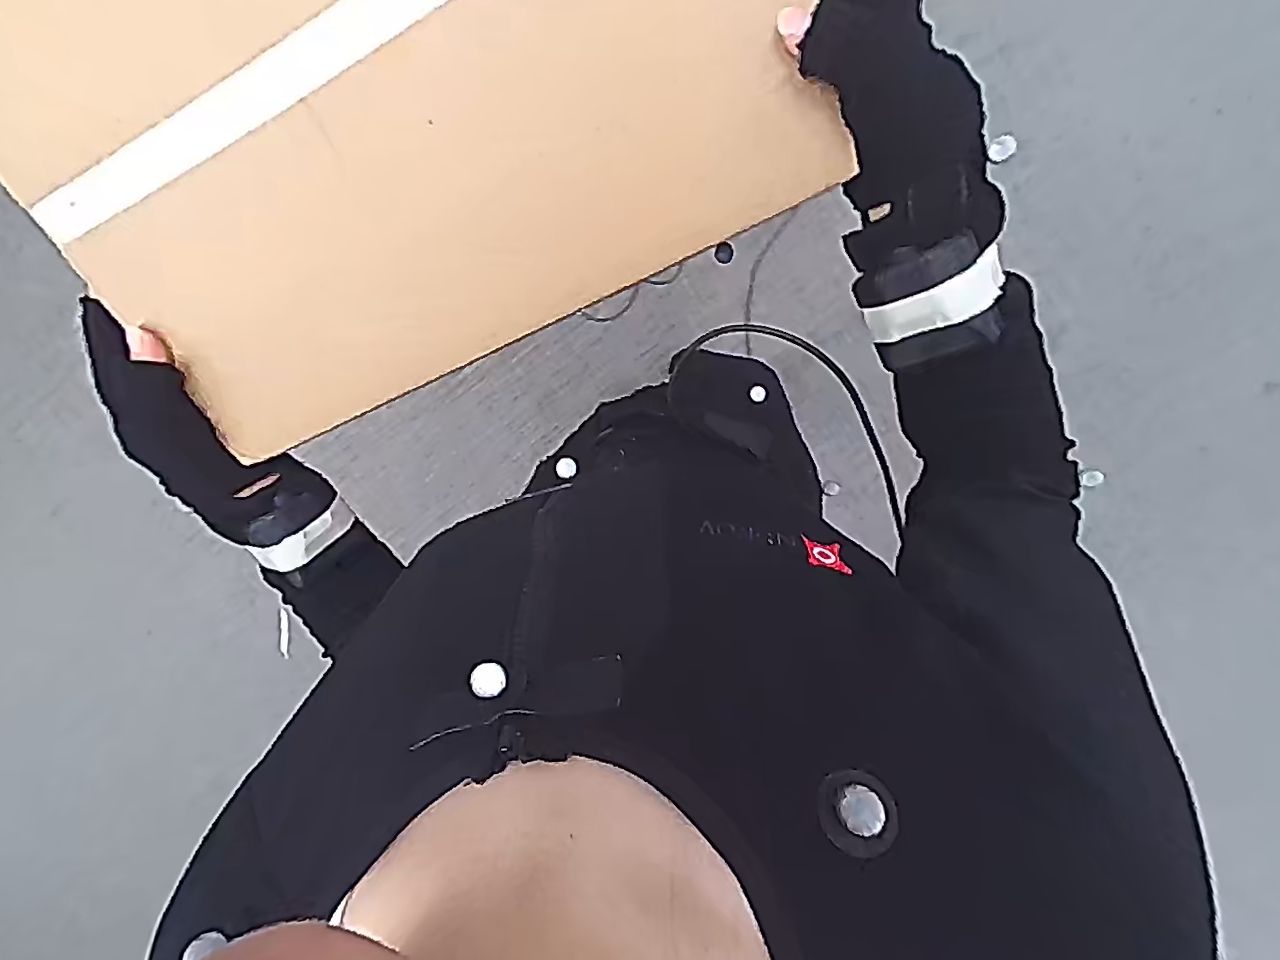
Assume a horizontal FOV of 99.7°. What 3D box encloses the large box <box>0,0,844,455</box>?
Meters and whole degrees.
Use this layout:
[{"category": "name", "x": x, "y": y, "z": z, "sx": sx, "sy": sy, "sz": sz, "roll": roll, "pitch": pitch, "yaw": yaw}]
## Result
[{"category": "large box", "x": -0.127, "y": -0.278, "z": 0.398, "sx": 0.408, "sy": 0.320, "sz": 0.320, "roll": -21, "pitch": 113, "yaw": 12}]
